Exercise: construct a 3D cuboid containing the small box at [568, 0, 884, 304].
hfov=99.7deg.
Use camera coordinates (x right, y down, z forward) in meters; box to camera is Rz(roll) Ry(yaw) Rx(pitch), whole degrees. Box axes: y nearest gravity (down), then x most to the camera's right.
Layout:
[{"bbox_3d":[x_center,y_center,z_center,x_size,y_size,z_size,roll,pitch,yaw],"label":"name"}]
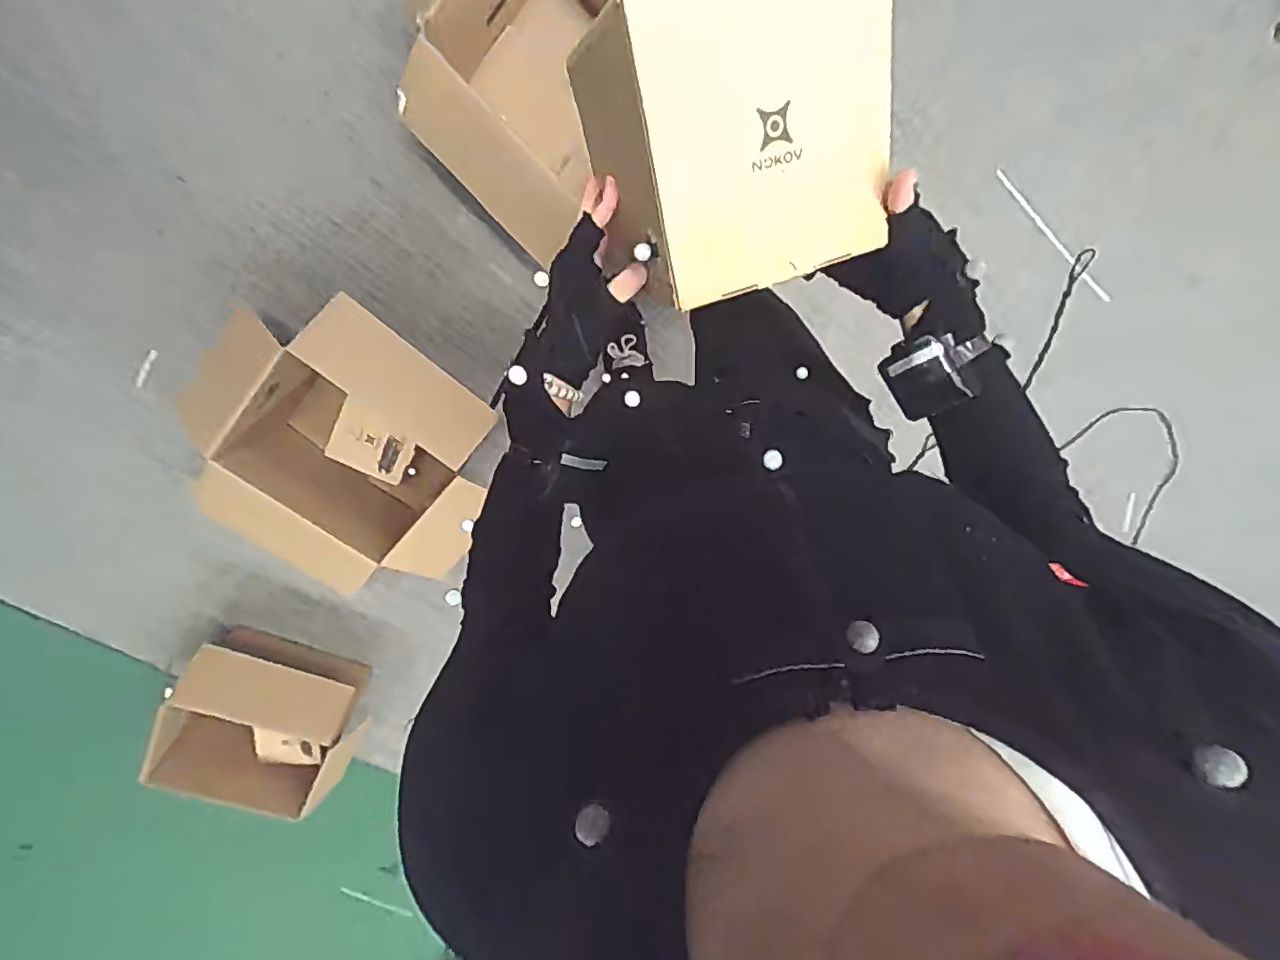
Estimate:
[{"bbox_3d":[0.057,-0.252,0.406,0.168,0.176,0.179,-21,122,-8],"label":"small box"}]
